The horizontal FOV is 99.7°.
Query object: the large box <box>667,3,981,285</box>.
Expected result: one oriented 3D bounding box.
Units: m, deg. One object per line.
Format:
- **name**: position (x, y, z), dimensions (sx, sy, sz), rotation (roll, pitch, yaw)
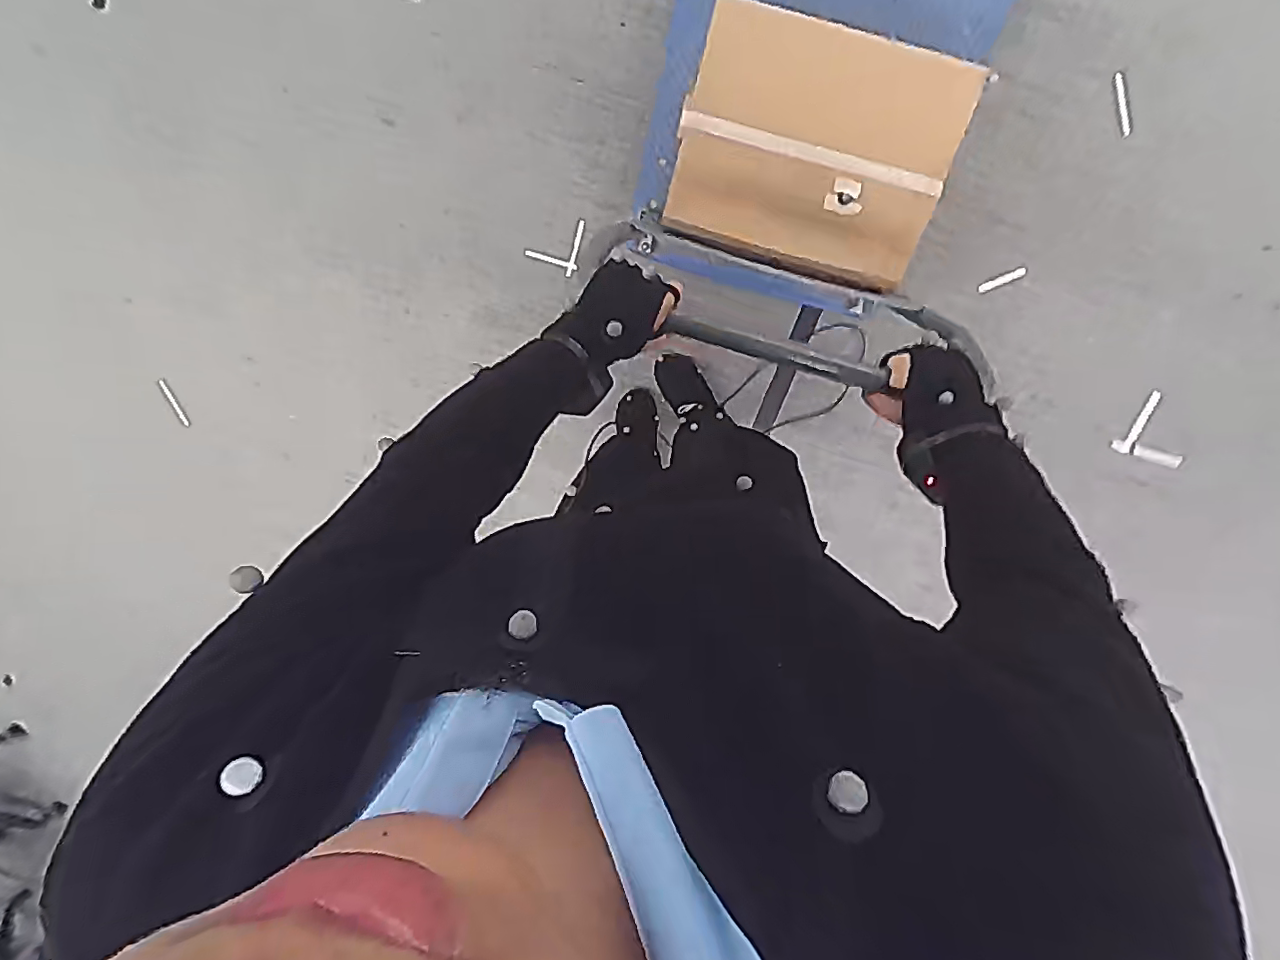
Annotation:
- **large box**: position (0.282, -0.565, 0.976), dimensions (0.408, 0.320, 0.320), rotation (15, 115, -1)
